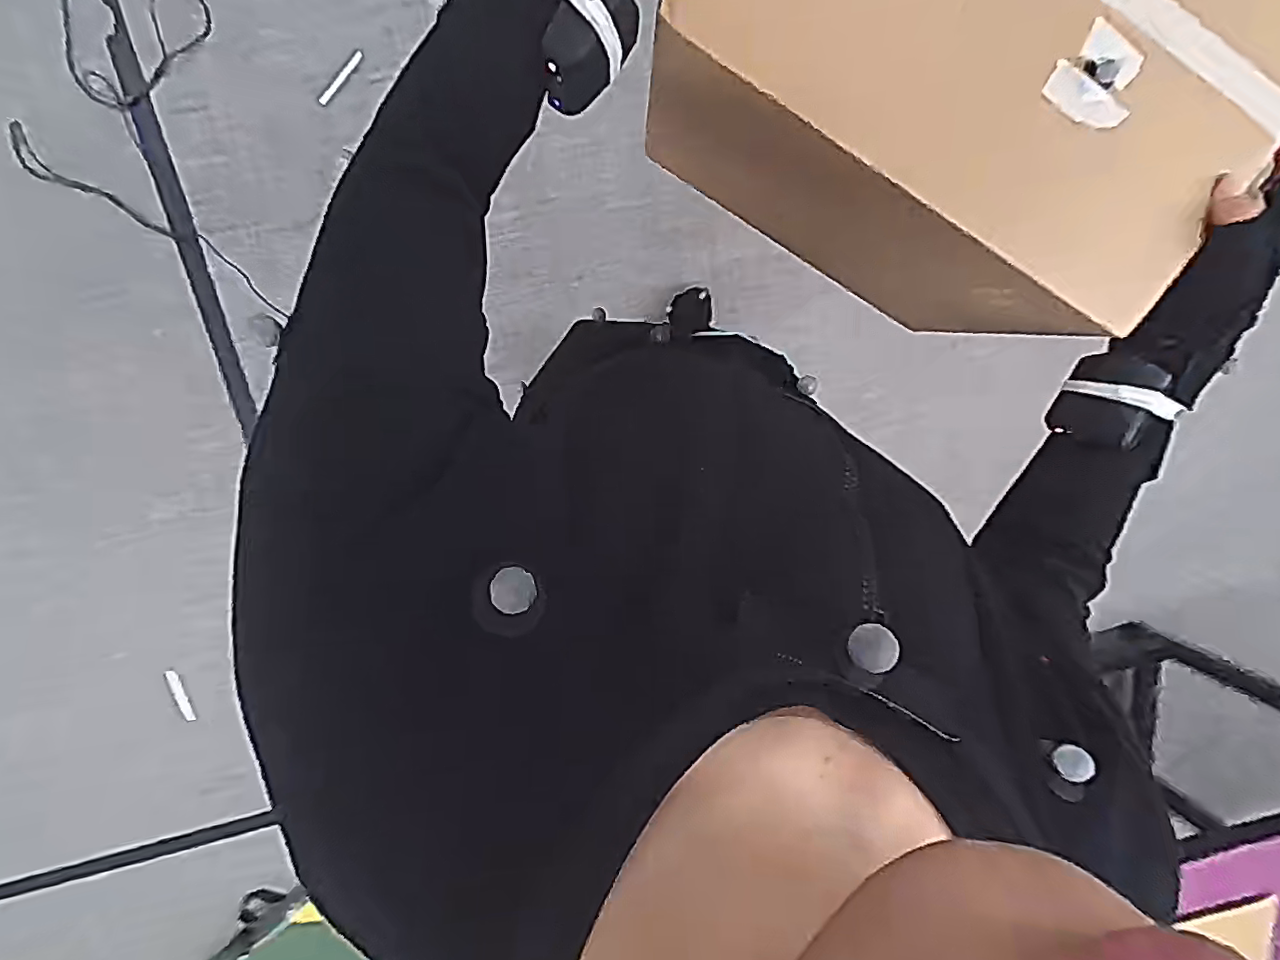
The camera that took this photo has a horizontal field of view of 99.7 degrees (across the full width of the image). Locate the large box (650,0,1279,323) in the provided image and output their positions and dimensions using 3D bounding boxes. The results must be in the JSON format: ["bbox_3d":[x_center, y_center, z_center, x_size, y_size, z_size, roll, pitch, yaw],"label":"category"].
[{"bbox_3d":[0.258,-0.380,0.496,0.408,0.320,0.320,29,105,-10],"label":"large box"}]
